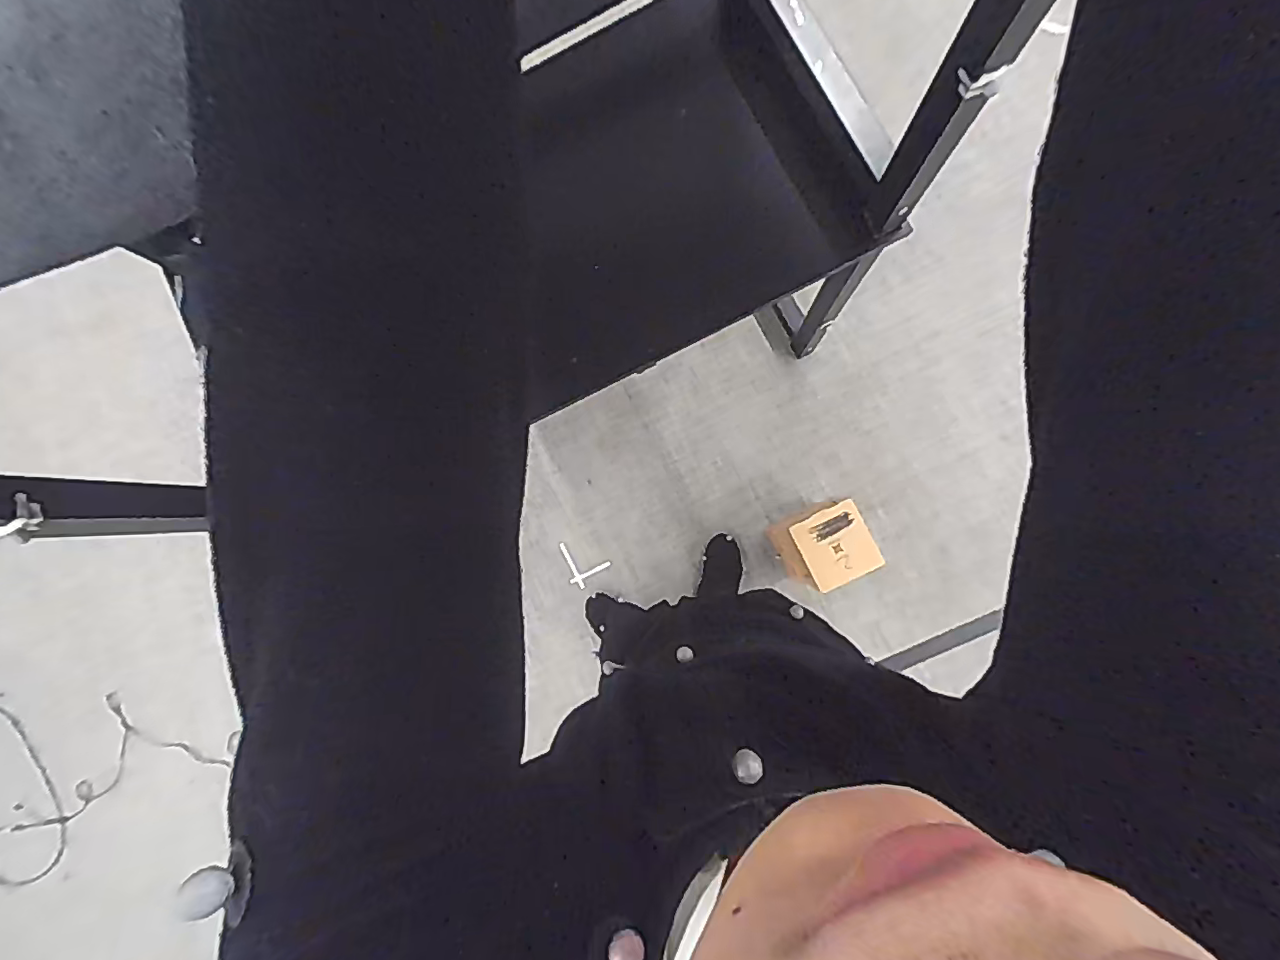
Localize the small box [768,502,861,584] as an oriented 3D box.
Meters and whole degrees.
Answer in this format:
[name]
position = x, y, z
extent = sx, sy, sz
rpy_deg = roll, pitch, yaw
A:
[small box]
position = 0.478, 0.170, 1.508
extent = 0.179, 0.176, 0.168
rpy_deg = -28, 84, 4
